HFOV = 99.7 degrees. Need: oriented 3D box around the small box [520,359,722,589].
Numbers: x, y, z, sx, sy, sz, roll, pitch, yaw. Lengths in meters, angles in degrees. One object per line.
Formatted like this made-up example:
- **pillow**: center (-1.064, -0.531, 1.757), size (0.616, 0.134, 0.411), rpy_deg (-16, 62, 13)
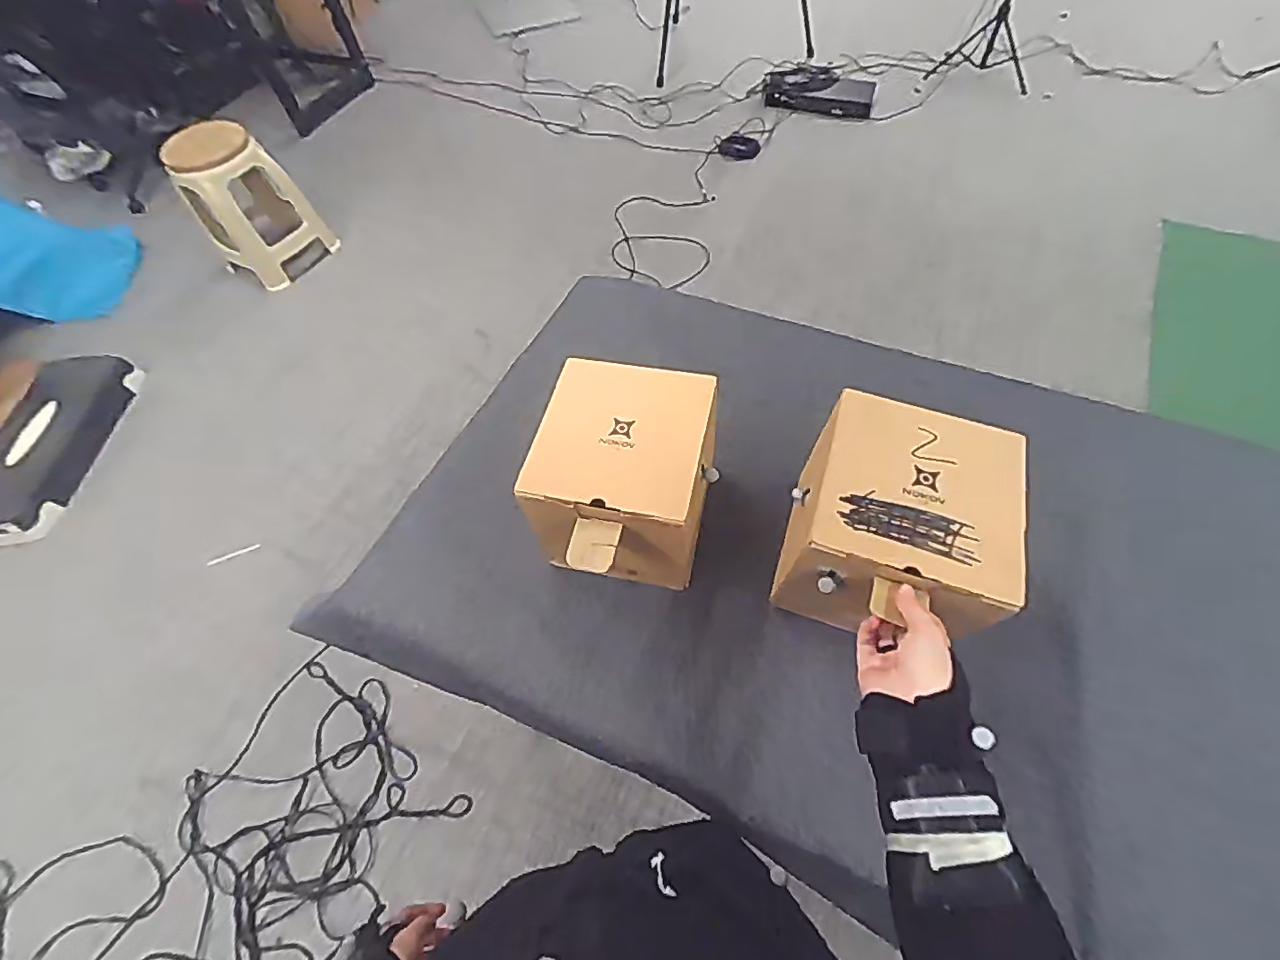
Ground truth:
- **small box**: center (-0.010, -0.003, 0.597), size (0.168, 0.176, 0.179), rpy_deg (10, 59, 10)
